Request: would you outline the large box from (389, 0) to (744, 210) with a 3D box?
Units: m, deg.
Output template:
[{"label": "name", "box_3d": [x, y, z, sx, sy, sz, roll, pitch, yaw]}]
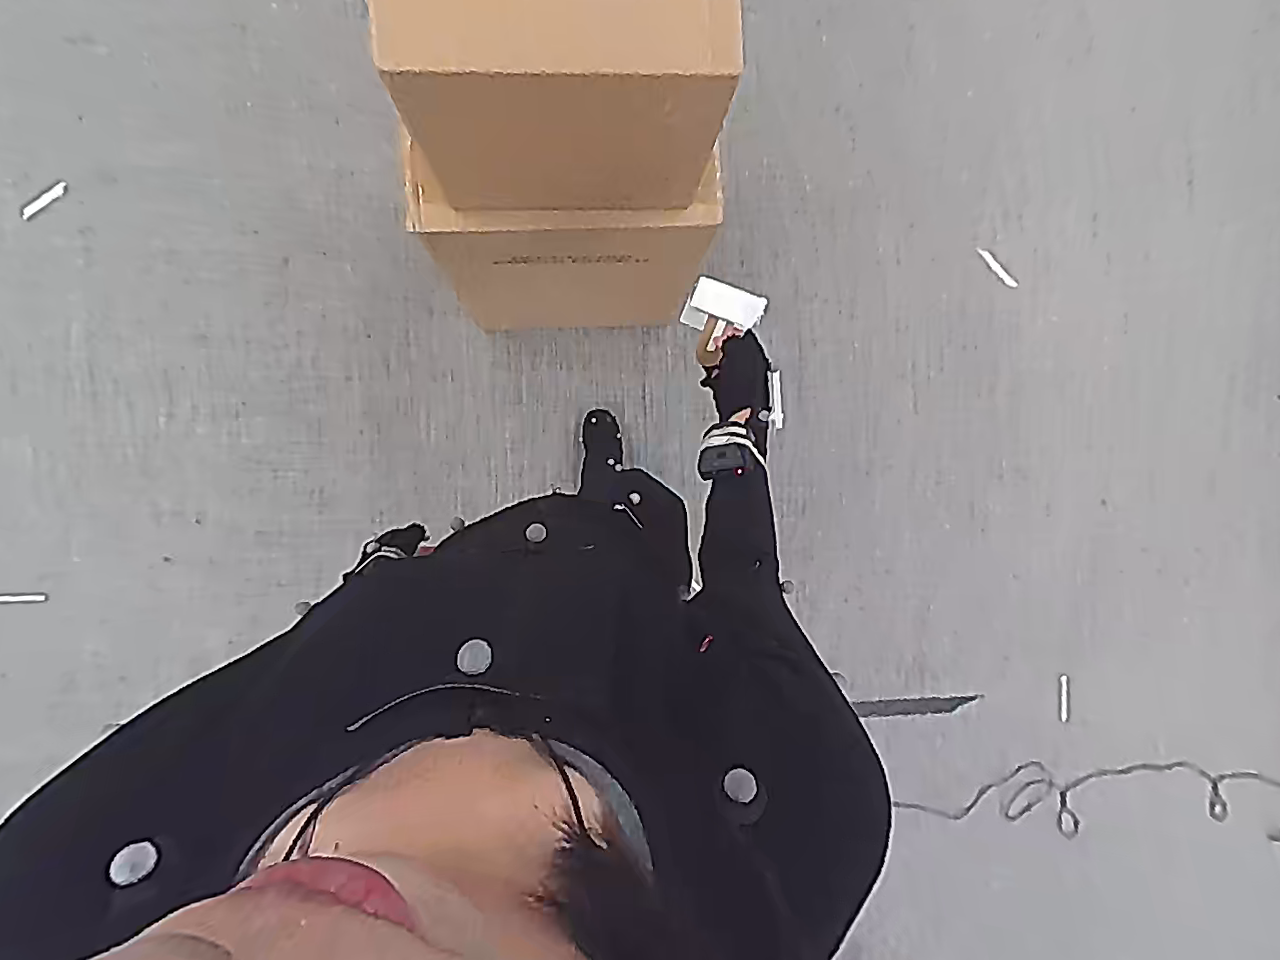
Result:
[{"label": "large box", "box_3d": [-0.102, -0.608, 0.759, 0.408, 0.320, 0.320, -3, 91, -6]}]
